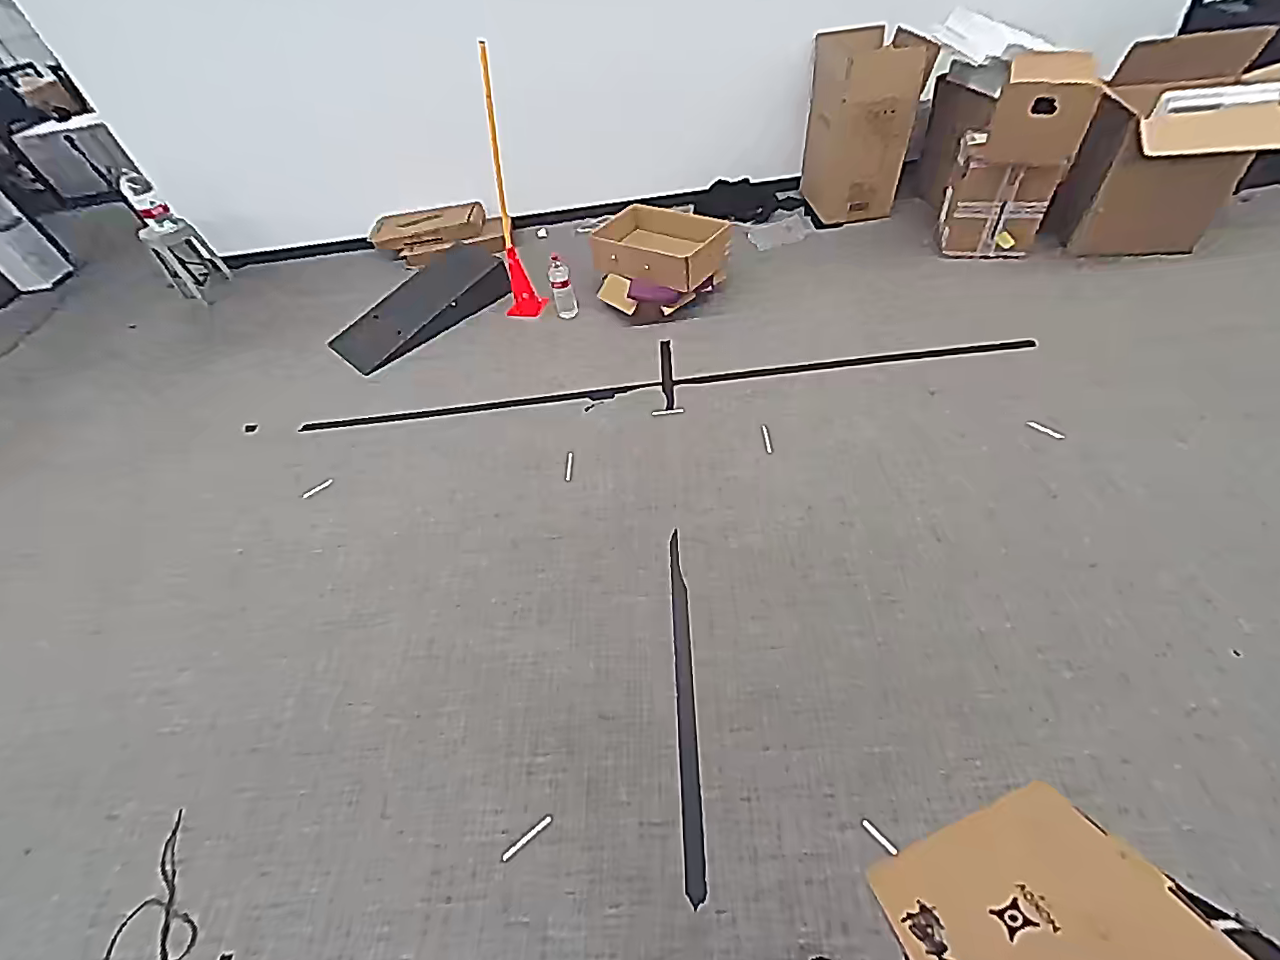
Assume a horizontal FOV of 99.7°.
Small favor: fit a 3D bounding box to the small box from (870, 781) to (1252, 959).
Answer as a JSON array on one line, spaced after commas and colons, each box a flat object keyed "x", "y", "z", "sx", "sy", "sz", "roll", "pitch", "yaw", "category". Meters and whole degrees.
[{"x": 0.315, "y": 0.381, "z": 0.403, "sx": 0.179, "sy": 0.176, "sz": 0.168, "roll": -28, "pitch": 8, "yaw": 1, "category": "small box"}]
